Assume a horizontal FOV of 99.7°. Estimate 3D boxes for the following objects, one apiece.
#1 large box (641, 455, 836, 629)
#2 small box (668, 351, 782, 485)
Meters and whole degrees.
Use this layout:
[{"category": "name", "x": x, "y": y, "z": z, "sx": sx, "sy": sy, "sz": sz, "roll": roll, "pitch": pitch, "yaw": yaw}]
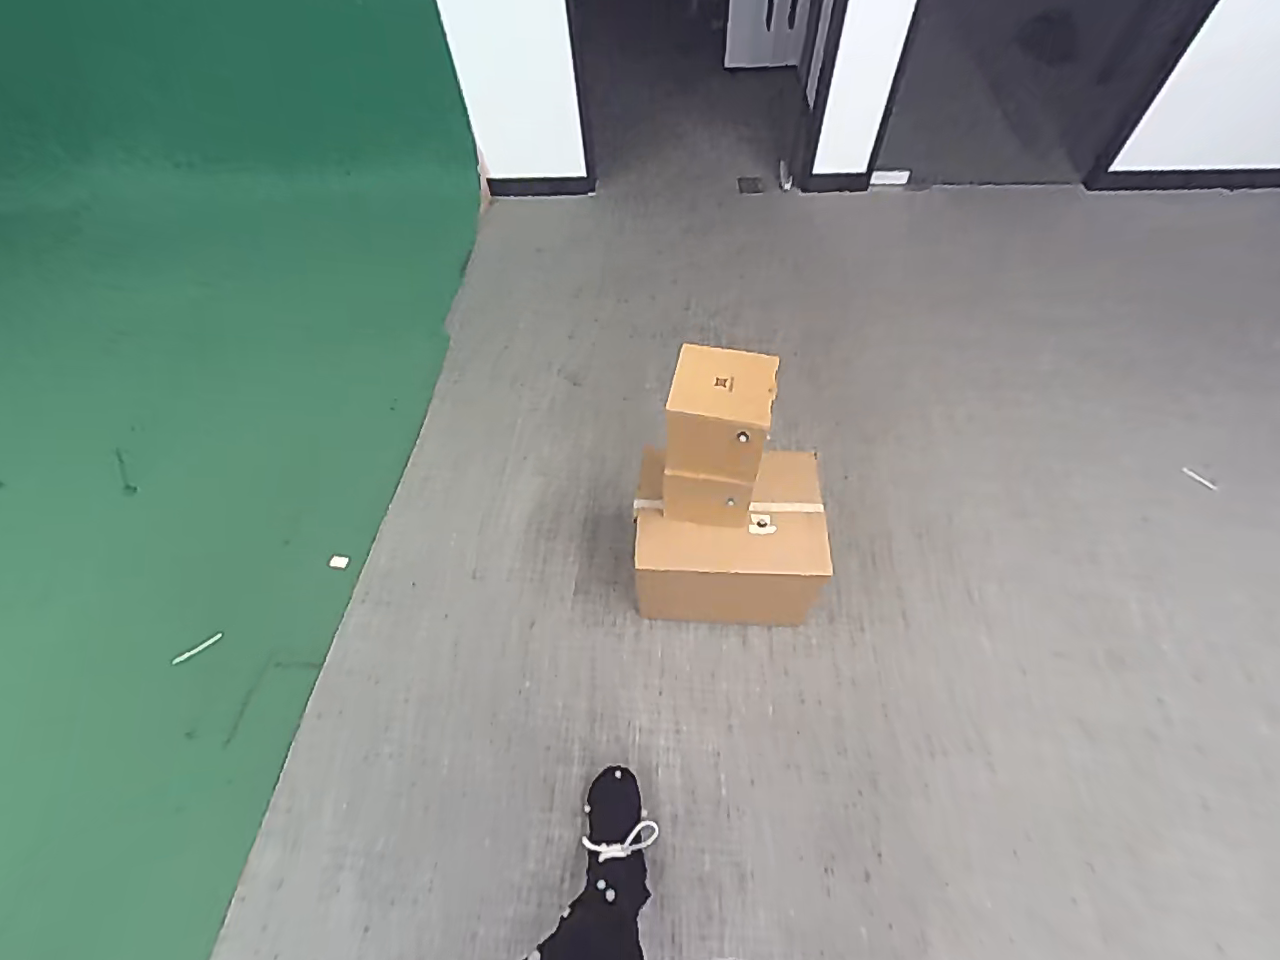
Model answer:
[{"category": "large box", "x": 0.207, "y": 0.156, "z": 1.300, "sx": 0.408, "sy": 0.320, "sz": 0.320, "roll": 2, "pitch": 57, "yaw": 3}, {"category": "small box", "x": 0.151, "y": -0.109, "z": 0.991, "sx": 0.179, "sy": 0.176, "sz": 0.168, "roll": 10, "pitch": 57, "yaw": 8}]
